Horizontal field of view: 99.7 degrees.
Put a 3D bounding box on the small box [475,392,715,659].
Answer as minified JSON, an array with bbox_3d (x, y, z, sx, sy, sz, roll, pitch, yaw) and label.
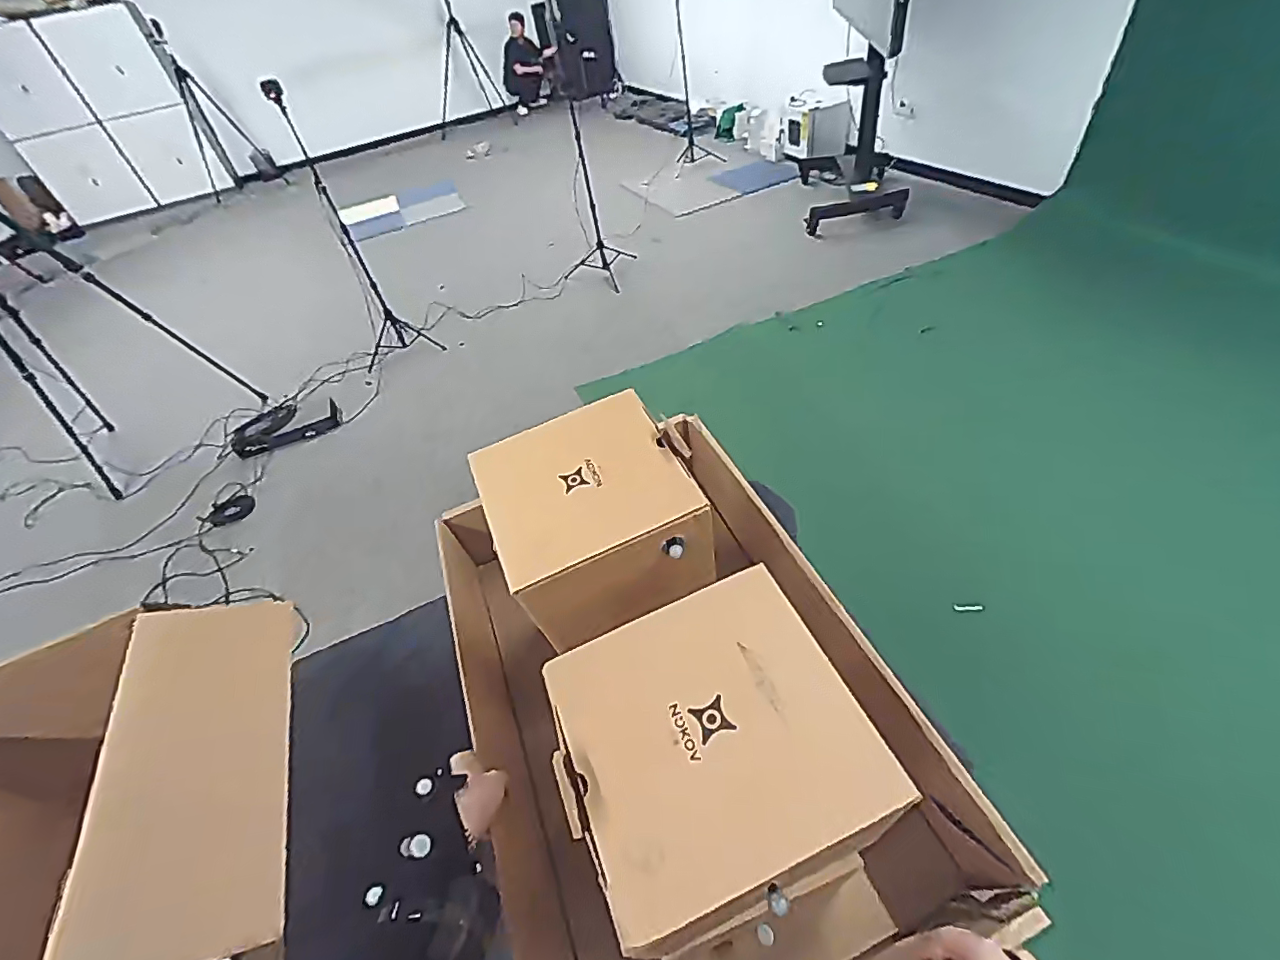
[{"bbox_3d":[-0.037,0.050,0.540,0.179,0.176,0.168,-24,52,-8],"label":"small box"}]

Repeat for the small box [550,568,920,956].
[{"bbox_3d":[0.060,0.202,0.392,0.179,0.176,0.168,-25,51,-8],"label":"small box"}]
